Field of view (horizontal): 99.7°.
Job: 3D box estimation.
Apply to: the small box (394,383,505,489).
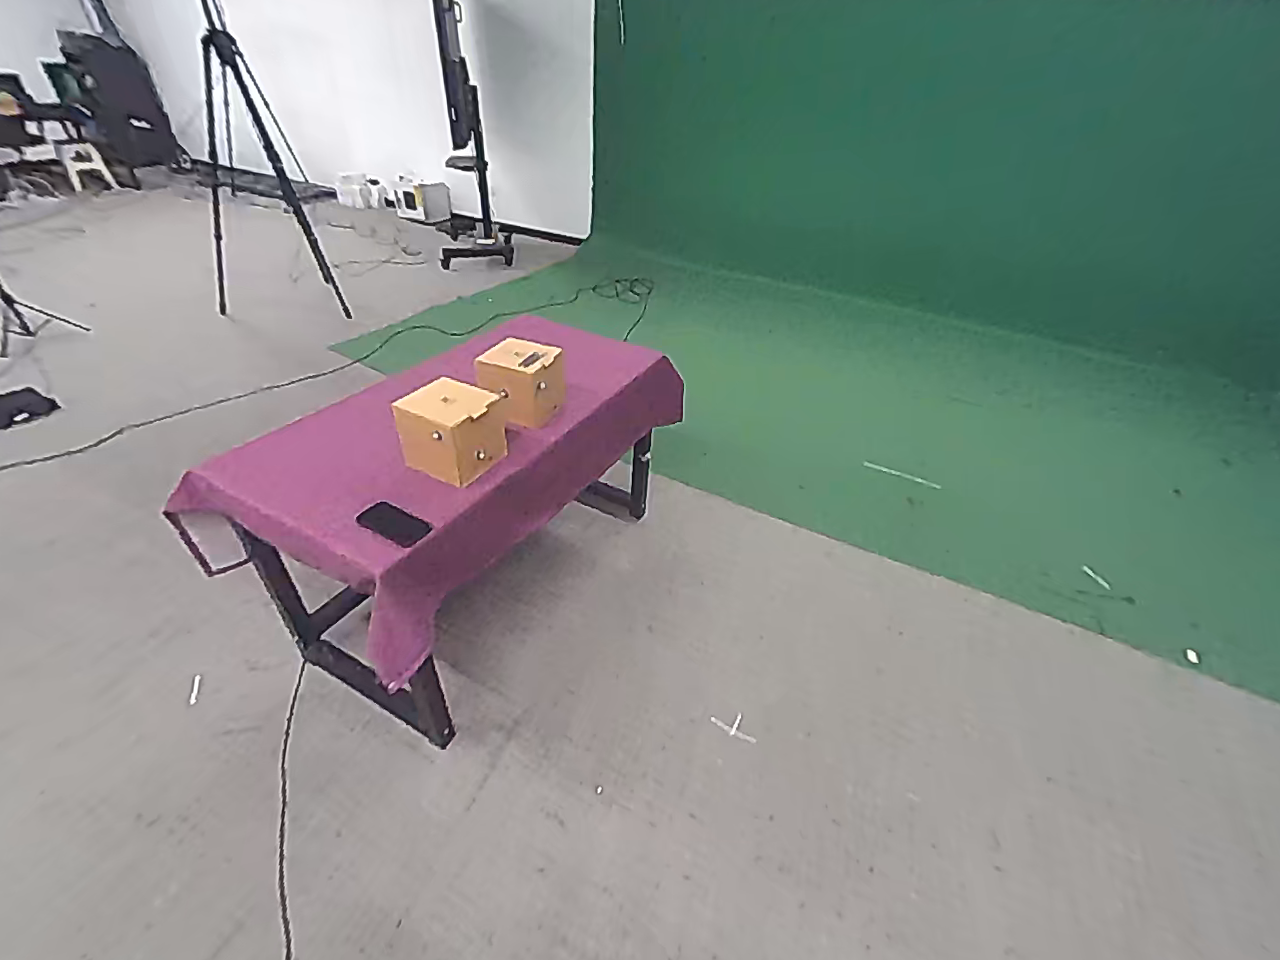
[{"bbox_3d":[-0.439,-0.103,1.271,0.179,0.176,0.168,20,40,19],"label":"small box"}]
